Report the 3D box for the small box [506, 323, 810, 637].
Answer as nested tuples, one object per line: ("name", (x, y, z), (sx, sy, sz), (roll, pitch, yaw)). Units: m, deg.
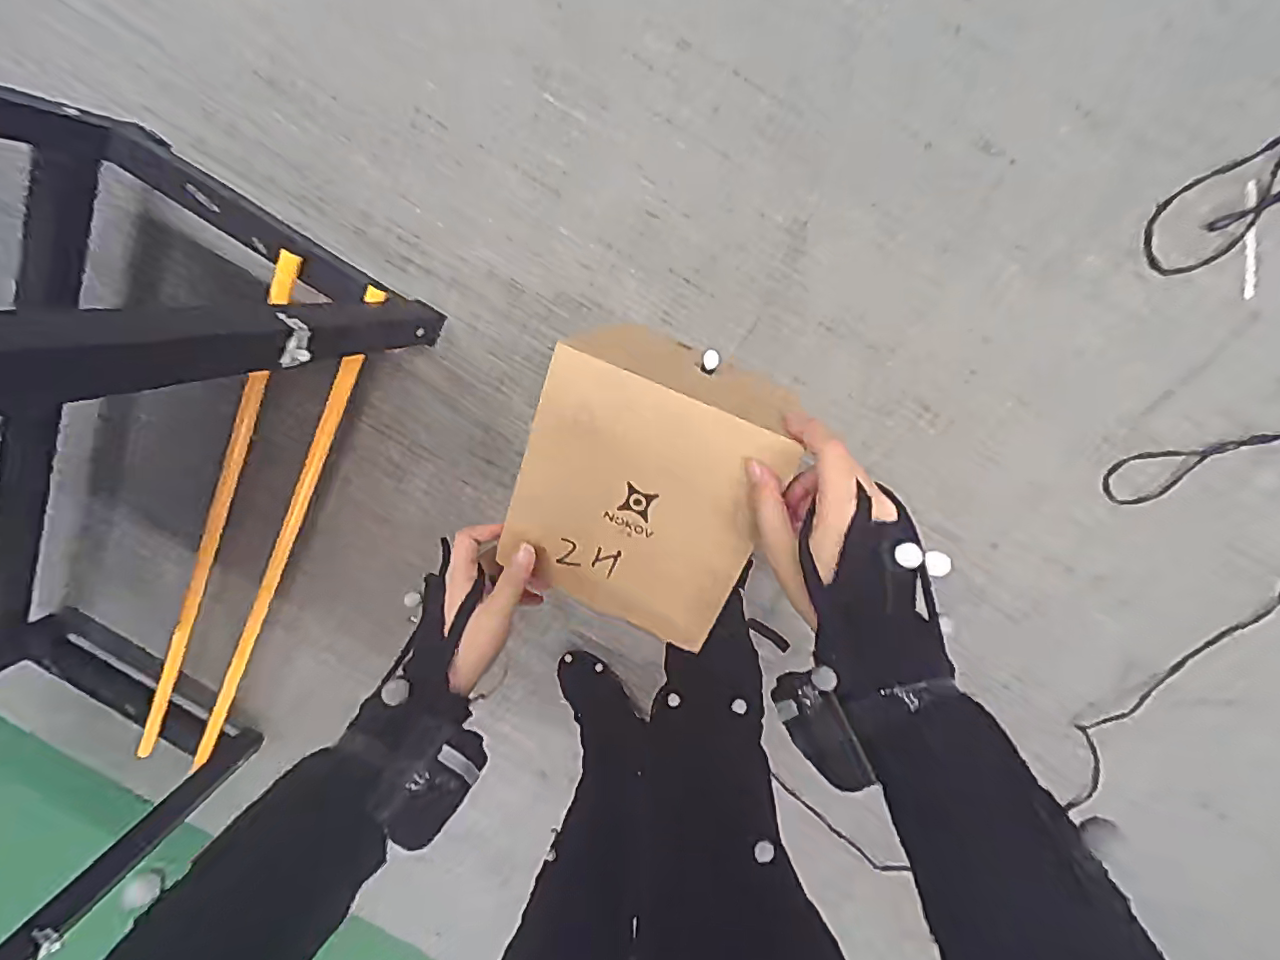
("small box", (0.018, -0.016, 0.442), (0.168, 0.176, 0.179), (24, 114, 4))
